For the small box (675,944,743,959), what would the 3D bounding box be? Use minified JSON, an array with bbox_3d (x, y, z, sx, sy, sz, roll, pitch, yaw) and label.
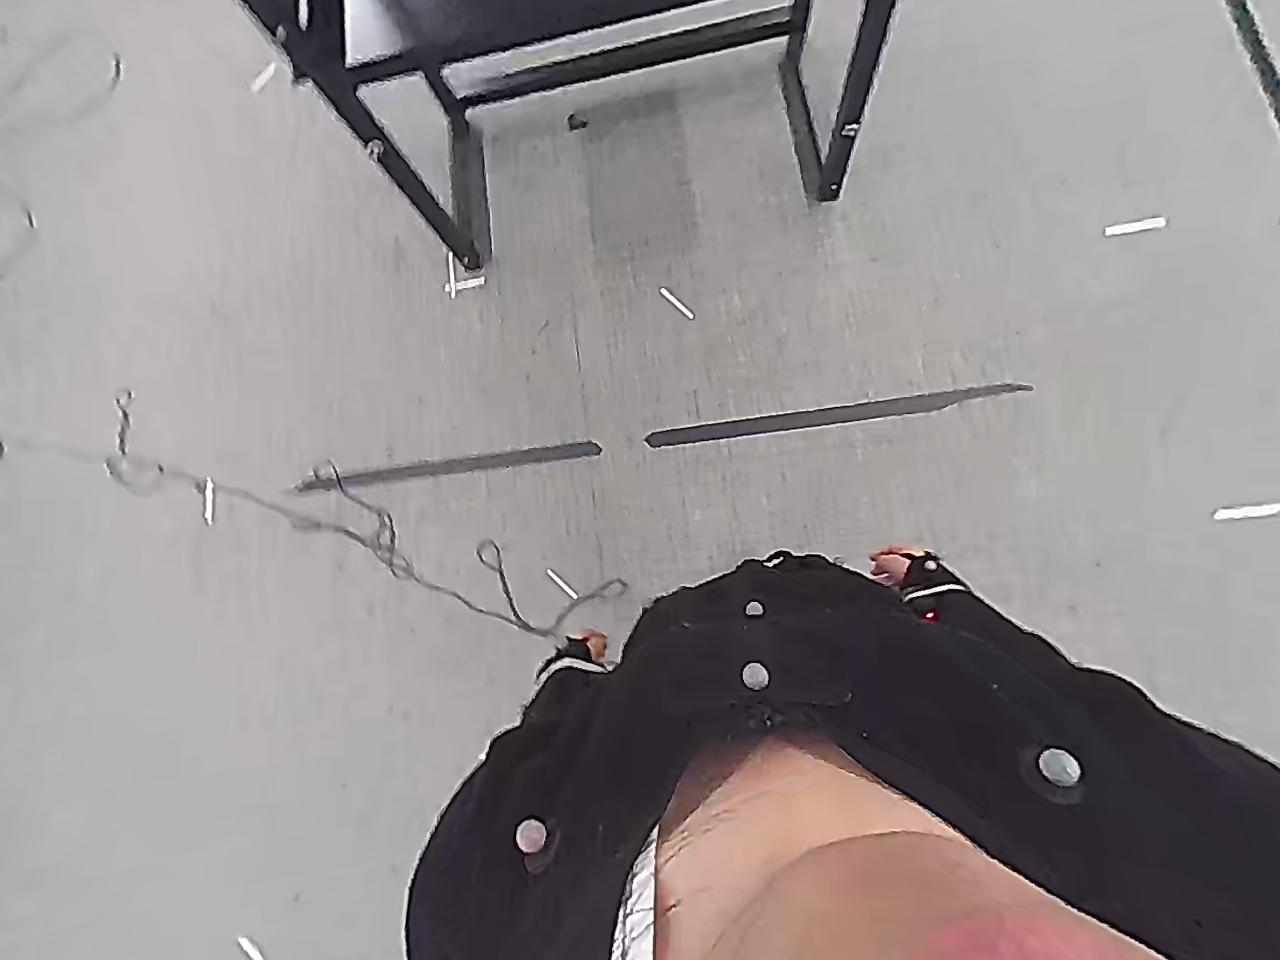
[{"bbox_3d":[0.167,1.206,1.235,0.168,0.176,0.179,-10,80,6],"label":"small box"}]
